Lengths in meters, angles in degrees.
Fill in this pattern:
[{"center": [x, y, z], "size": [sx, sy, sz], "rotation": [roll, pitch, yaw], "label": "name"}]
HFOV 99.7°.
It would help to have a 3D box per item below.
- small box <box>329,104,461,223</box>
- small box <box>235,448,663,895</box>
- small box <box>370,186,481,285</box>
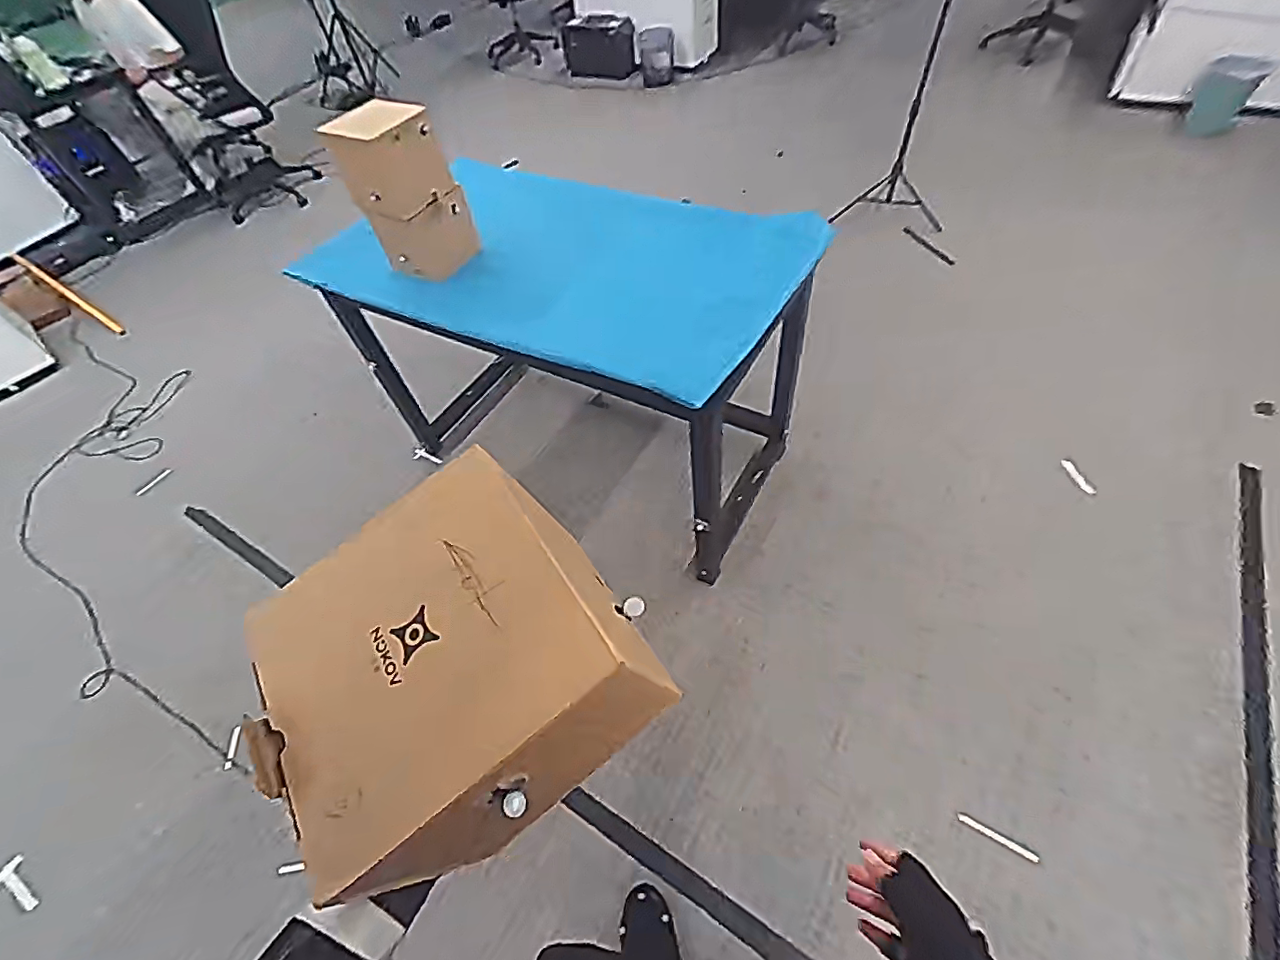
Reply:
[{"center": [-0.544, -0.708, 1.205], "size": [0.179, 0.176, 0.168], "rotation": [24, 60, 22], "label": "small box"}, {"center": [-0.110, 0.119, 0.357], "size": [0.179, 0.176, 0.168], "rotation": [-38, 60, -4], "label": "small box"}, {"center": [-0.521, -0.619, 1.345], "size": [0.168, 0.176, 0.179], "rotation": [24, 62, 25], "label": "small box"}]
